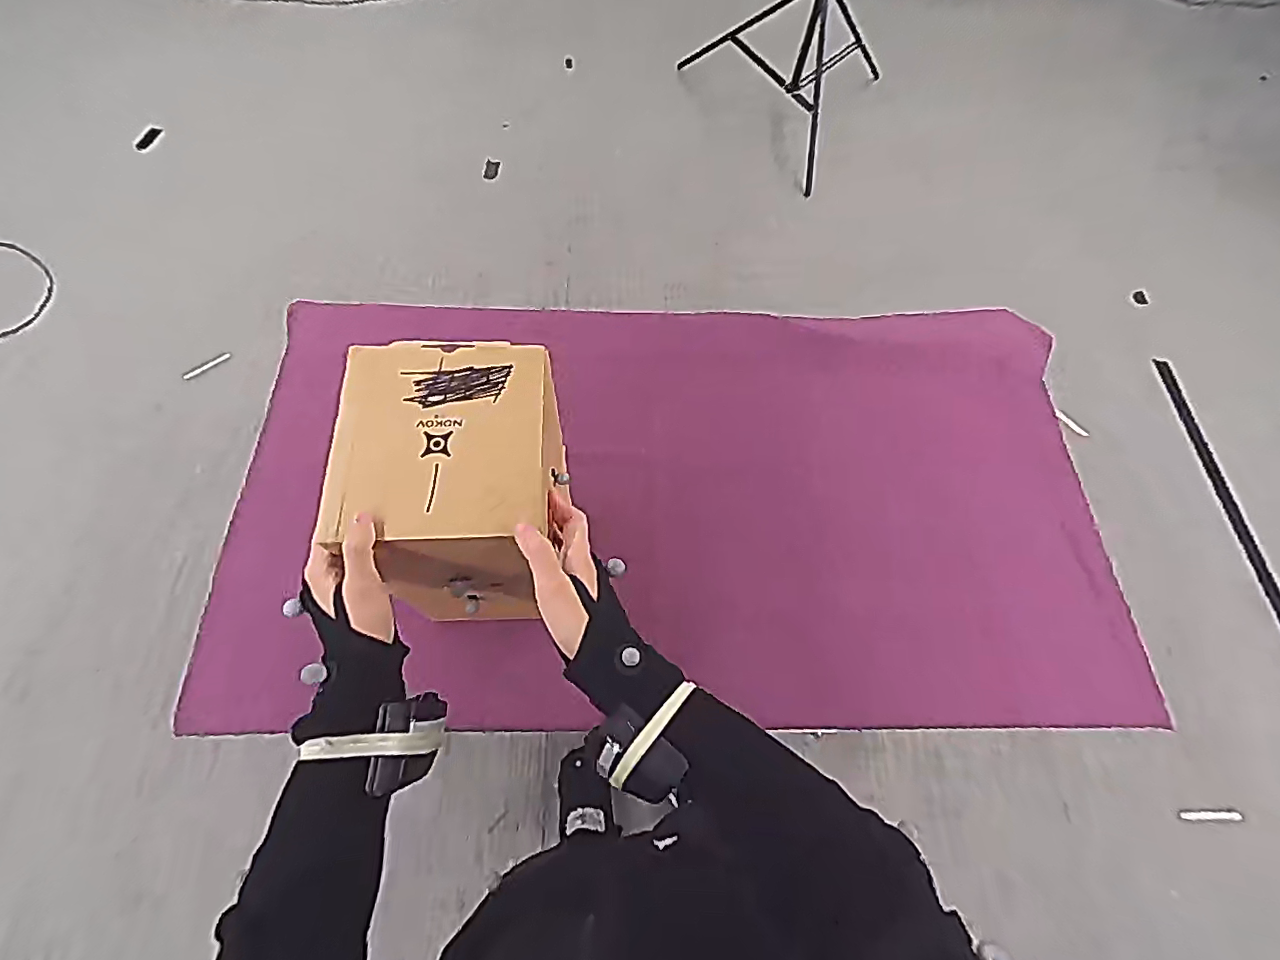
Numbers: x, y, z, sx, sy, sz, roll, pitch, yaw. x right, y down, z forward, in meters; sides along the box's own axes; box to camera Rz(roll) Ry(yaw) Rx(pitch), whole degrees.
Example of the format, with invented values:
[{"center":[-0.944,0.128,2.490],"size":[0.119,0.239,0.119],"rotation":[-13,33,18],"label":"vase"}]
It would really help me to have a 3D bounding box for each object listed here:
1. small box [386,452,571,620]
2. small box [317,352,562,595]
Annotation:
[{"center":[-0.177,0.072,0.655],"size":[0.179,0.176,0.168],"rotation":[-1,66,-3],"label":"small box"},{"center":[-0.164,0.001,0.507],"size":[0.168,0.176,0.179],"rotation":[-2,66,-4],"label":"small box"}]
